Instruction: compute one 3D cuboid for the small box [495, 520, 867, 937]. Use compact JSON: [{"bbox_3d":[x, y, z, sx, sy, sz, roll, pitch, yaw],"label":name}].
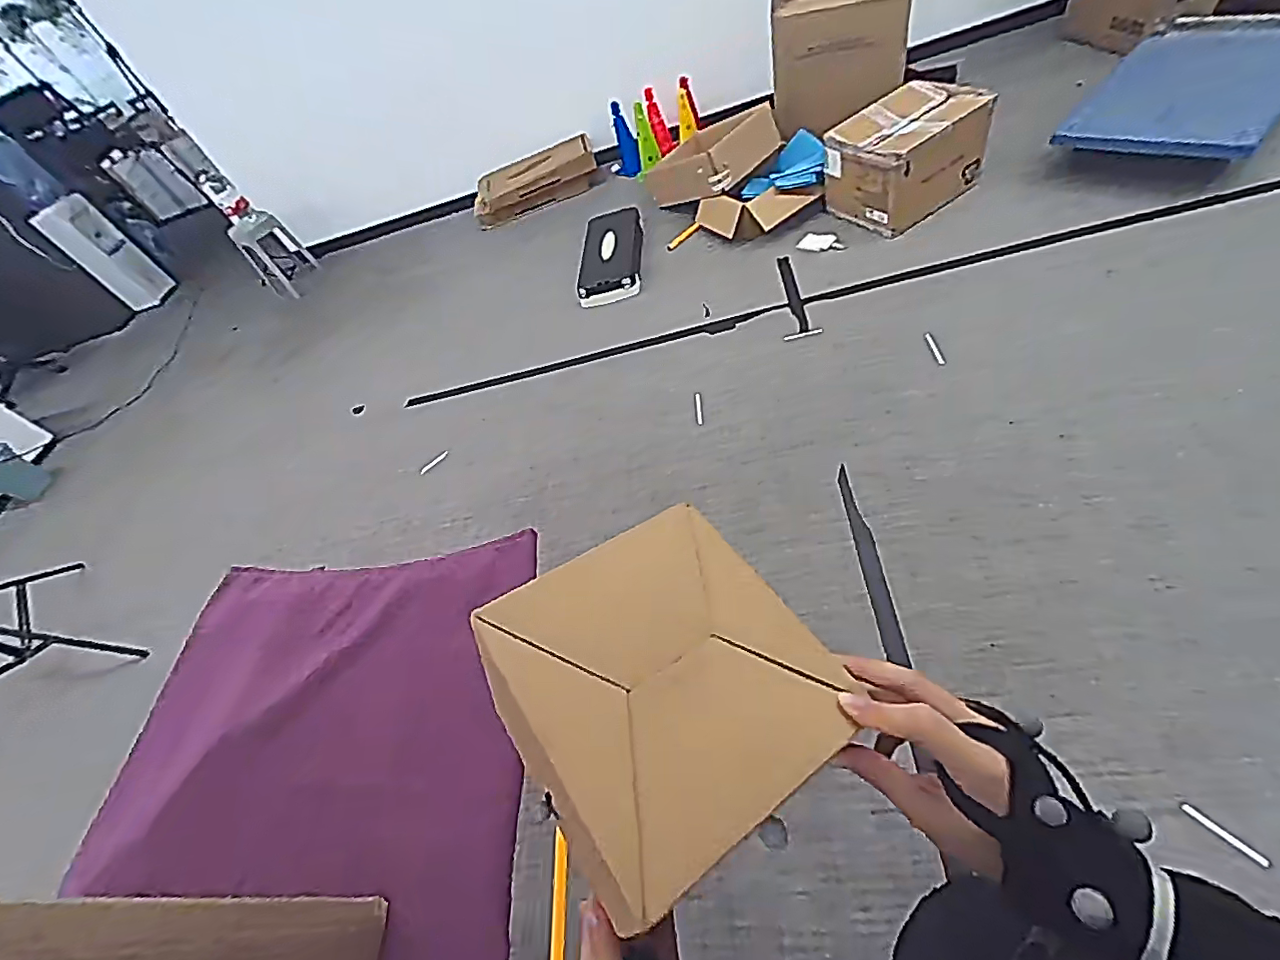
[{"bbox_3d":[0.013,0.158,0.368,0.168,0.176,0.179,-25,56,-27],"label":"small box"}]
